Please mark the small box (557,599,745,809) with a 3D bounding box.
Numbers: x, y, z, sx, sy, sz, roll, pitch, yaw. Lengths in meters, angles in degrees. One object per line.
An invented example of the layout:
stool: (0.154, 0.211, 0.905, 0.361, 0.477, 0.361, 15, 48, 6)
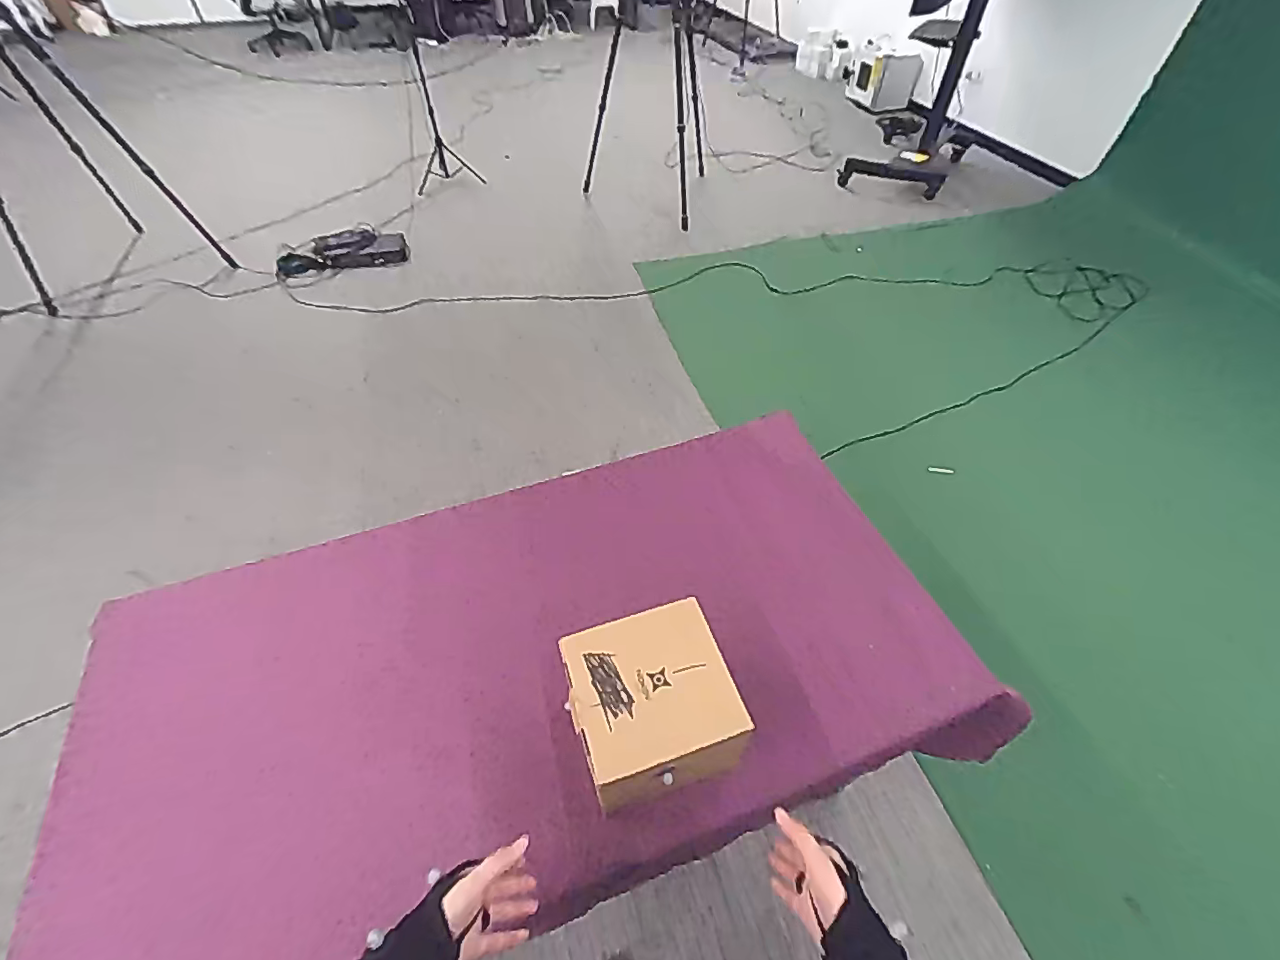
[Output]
small box: (0.008, 0.278, 0.666, 0.179, 0.176, 0.168, -14, 51, -12)
